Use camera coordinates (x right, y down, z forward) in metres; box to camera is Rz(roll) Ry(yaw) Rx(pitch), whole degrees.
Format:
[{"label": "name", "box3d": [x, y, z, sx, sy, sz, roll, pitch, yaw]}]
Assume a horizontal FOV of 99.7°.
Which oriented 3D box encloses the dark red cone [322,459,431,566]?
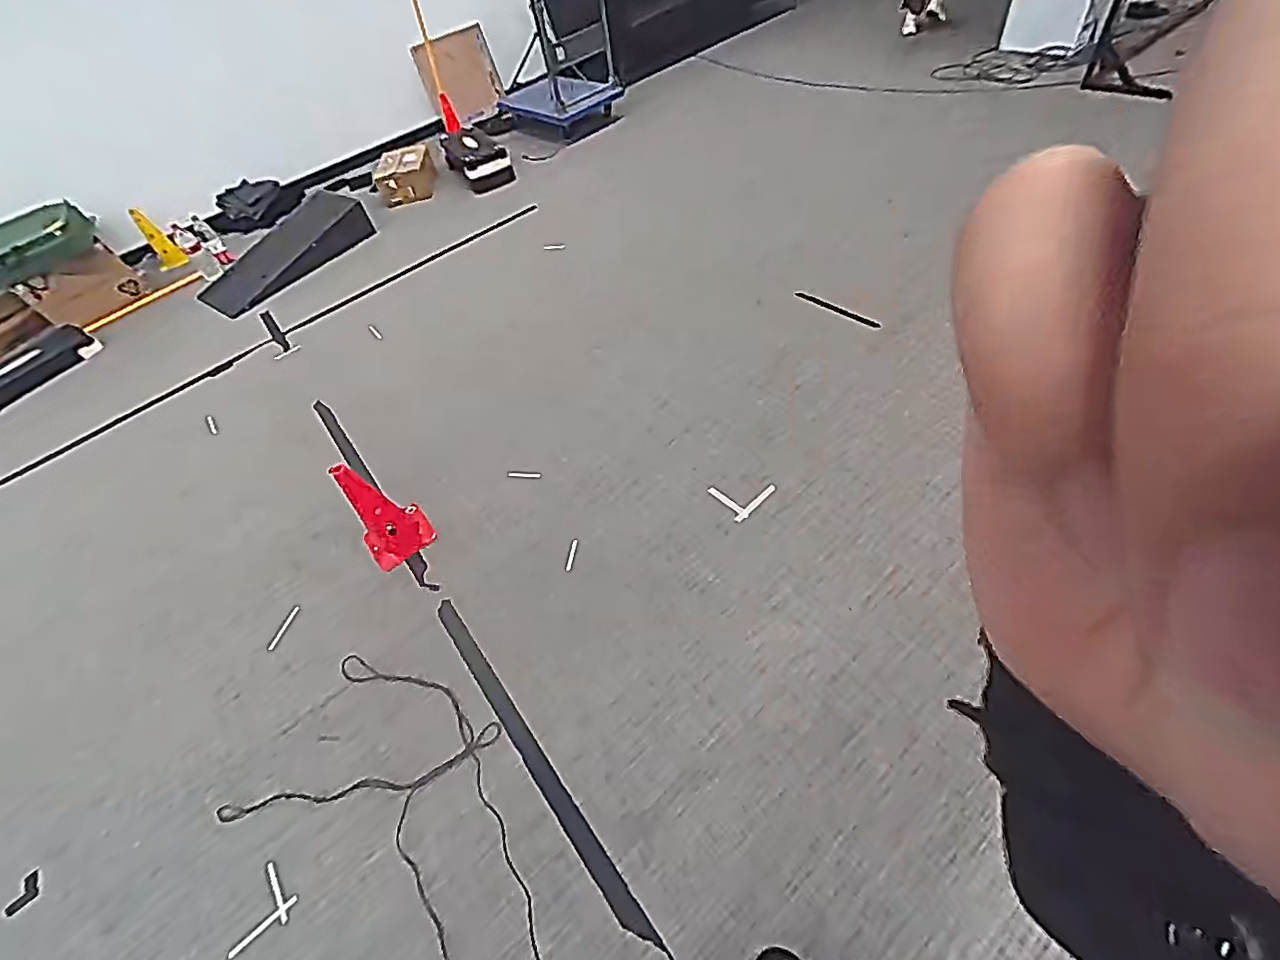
[{"label": "dark red cone", "box3d": [-0.830, 0.071, 1.644, 0.201, 0.394, 0.202, -38, 54, -17]}]
